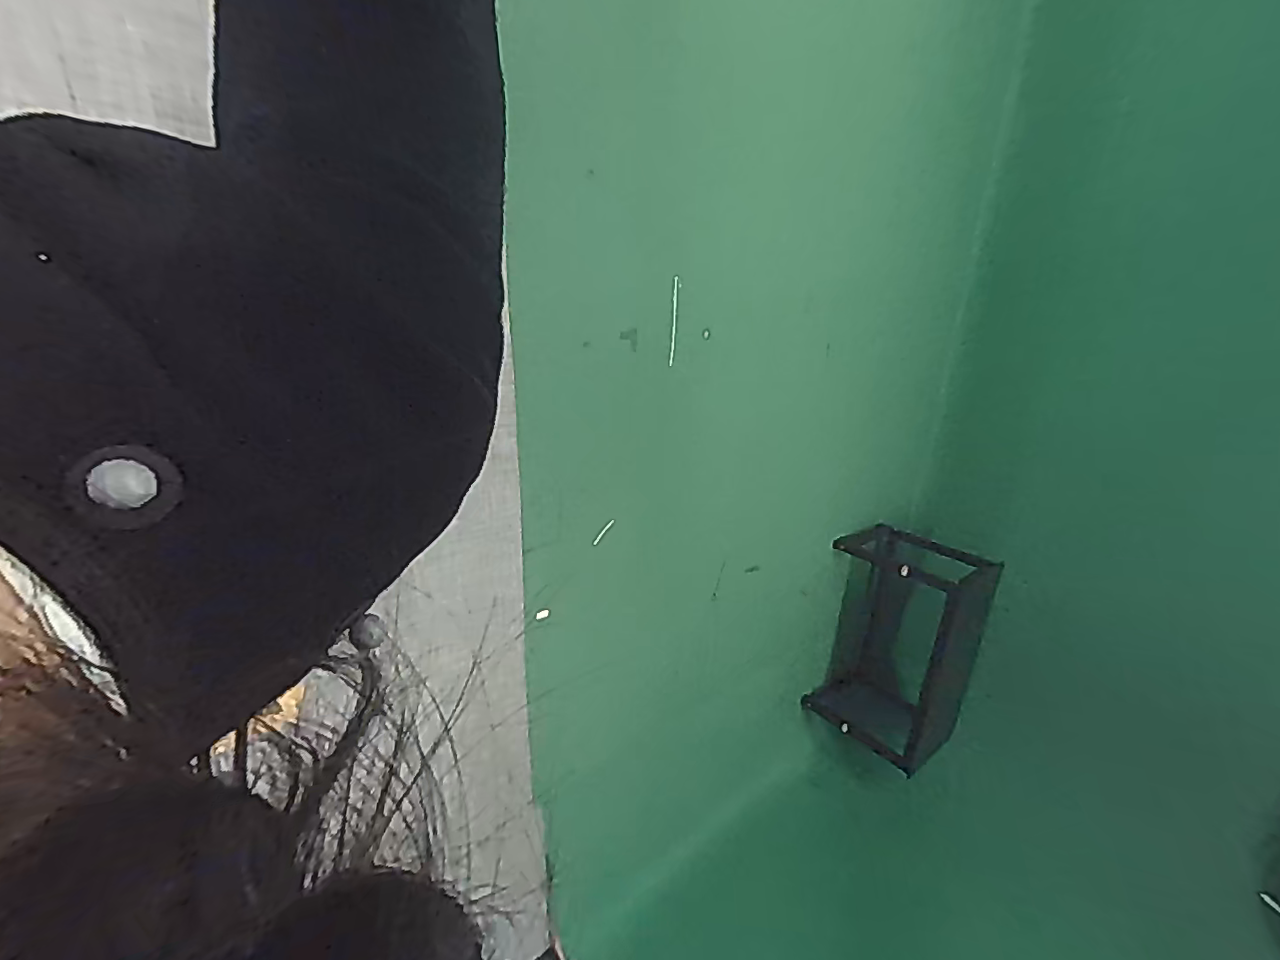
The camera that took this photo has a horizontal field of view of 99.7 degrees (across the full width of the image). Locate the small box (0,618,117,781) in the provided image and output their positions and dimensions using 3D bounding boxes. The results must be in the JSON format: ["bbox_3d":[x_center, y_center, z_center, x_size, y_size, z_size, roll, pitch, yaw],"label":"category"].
[{"bbox_3d":[-1.046,0.374,0.937,0.168,0.176,0.179,-18,116,-36],"label":"small box"}]

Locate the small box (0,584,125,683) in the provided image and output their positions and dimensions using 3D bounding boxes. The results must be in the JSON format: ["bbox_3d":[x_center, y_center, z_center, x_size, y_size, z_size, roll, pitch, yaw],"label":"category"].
[{"bbox_3d":[-1.152,0.328,1.055,0.179,0.176,0.168,-17,115,-36],"label":"small box"}]
